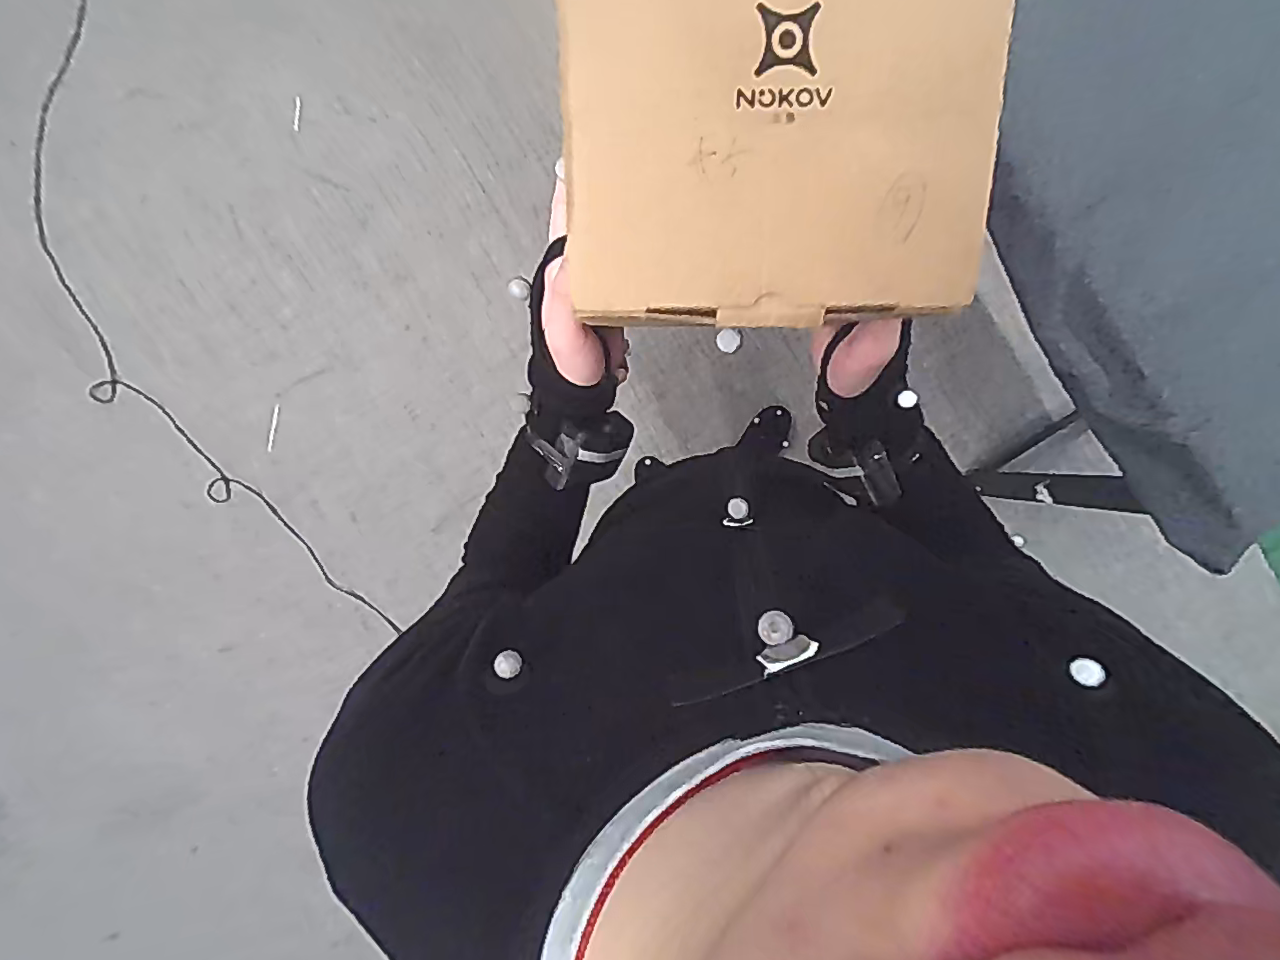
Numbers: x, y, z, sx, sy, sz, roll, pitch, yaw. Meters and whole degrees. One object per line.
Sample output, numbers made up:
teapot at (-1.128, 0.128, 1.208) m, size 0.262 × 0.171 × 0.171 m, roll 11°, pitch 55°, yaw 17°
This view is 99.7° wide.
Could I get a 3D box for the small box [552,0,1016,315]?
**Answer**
small box at (0.047, -0.174, 0.270) m, size 0.168 × 0.176 × 0.179 m, roll -2°, pitch 105°, yaw -4°
